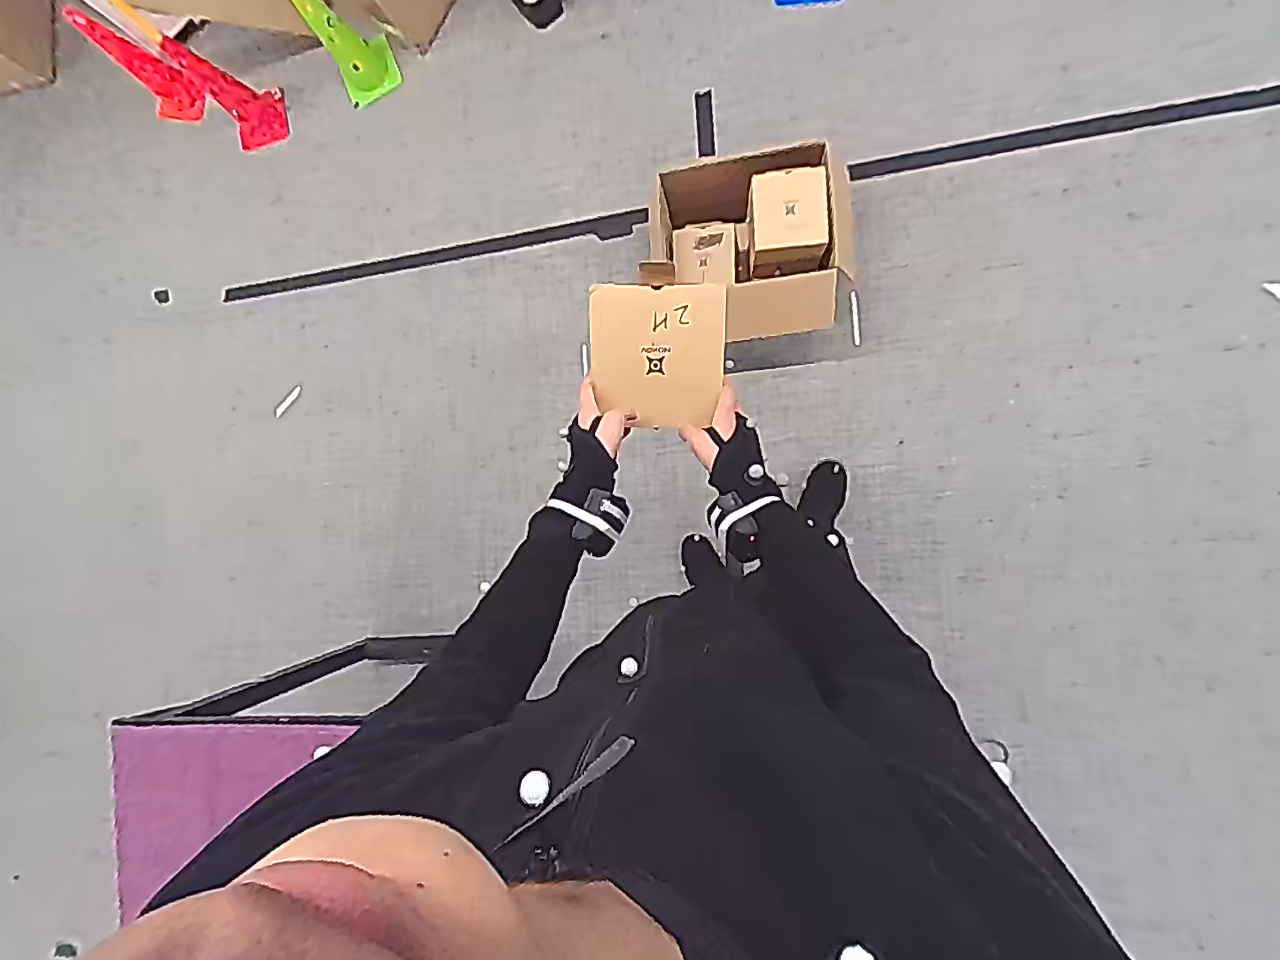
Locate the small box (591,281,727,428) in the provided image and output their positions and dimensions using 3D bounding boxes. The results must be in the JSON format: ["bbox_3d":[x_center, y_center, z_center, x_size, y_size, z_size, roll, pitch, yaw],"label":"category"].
[{"bbox_3d":[0.028,-0.172,0.737,0.168,0.176,0.179,1,104,5],"label":"small box"}]
